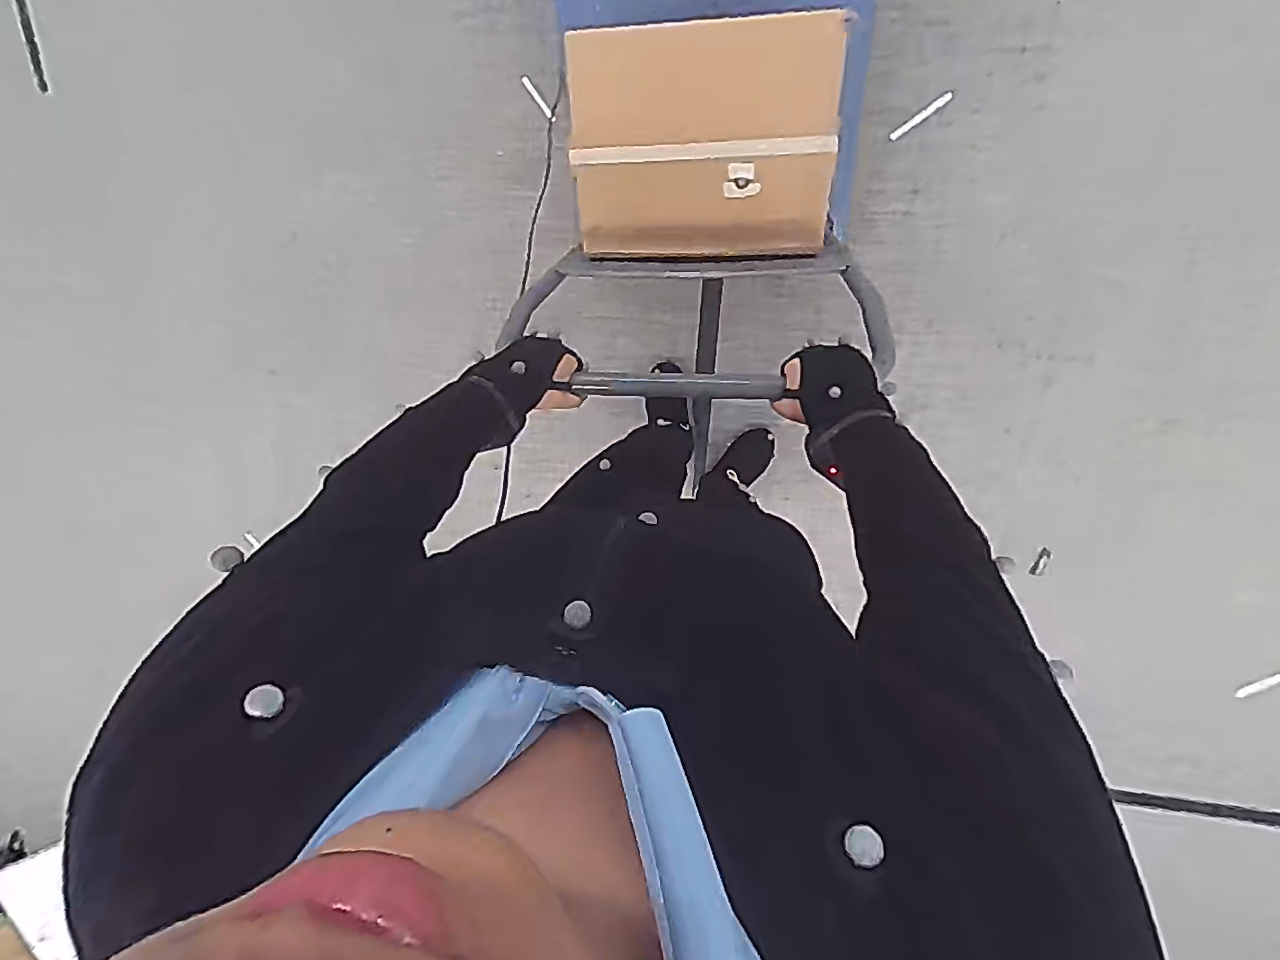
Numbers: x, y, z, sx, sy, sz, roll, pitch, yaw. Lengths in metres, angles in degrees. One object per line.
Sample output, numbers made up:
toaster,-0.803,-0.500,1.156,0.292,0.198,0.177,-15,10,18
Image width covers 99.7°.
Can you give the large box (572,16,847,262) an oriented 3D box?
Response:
large box,0.119,-0.593,0.983,0.408,0.320,0.320,2,122,8
